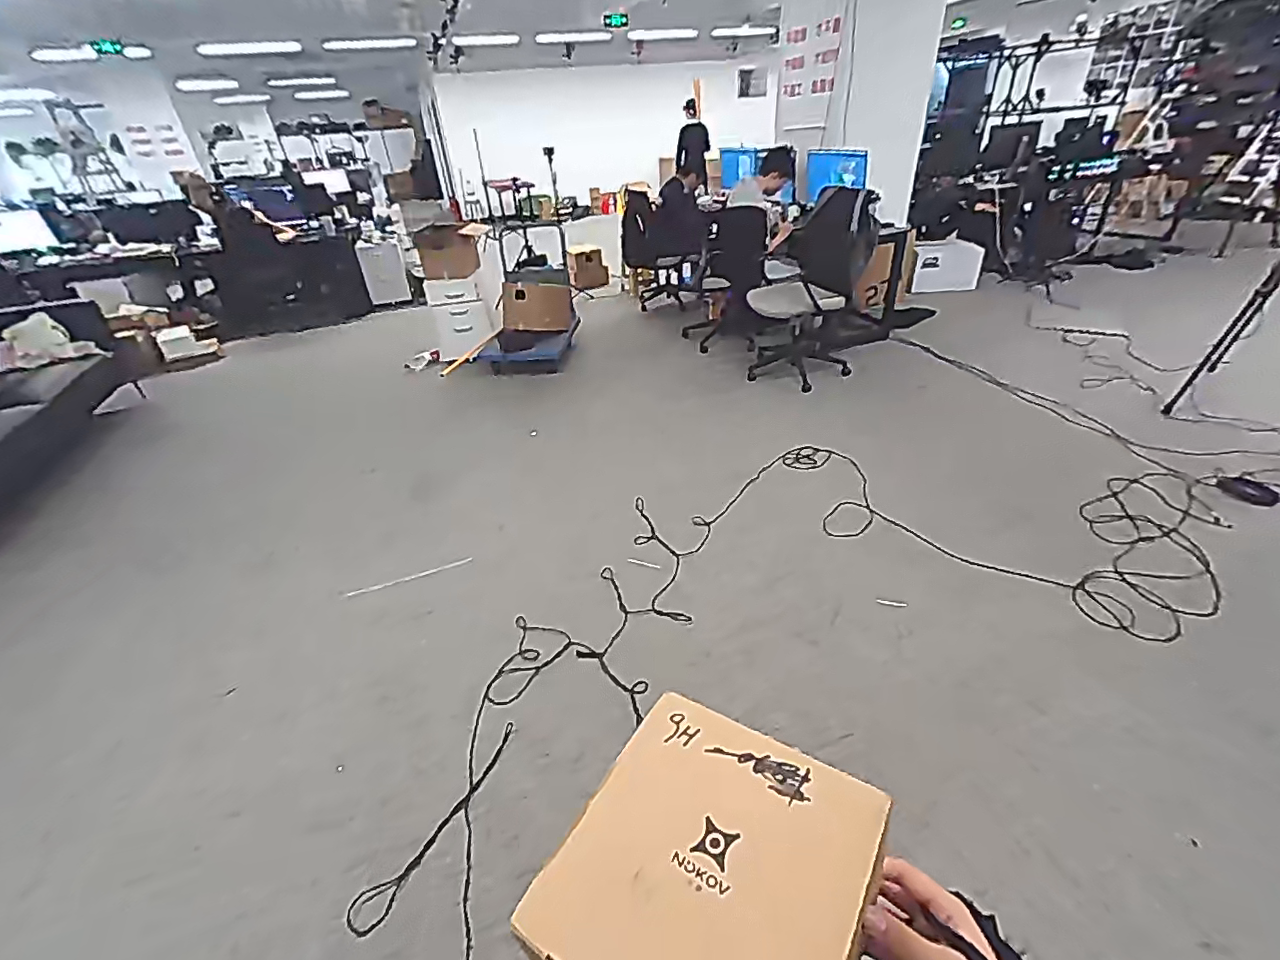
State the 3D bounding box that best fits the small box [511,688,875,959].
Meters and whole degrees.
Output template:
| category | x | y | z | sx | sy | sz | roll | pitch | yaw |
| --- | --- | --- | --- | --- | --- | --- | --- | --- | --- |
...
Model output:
| category | x | y | z | sx | sy | sz | roll | pitch | yaw |
| --- | --- | --- | --- | --- | --- | --- | --- | --- | --- |
| small box | 0.049 | 0.290 | 0.368 | 0.168 | 0.176 | 0.179 | 13 | 39 | 33 |
